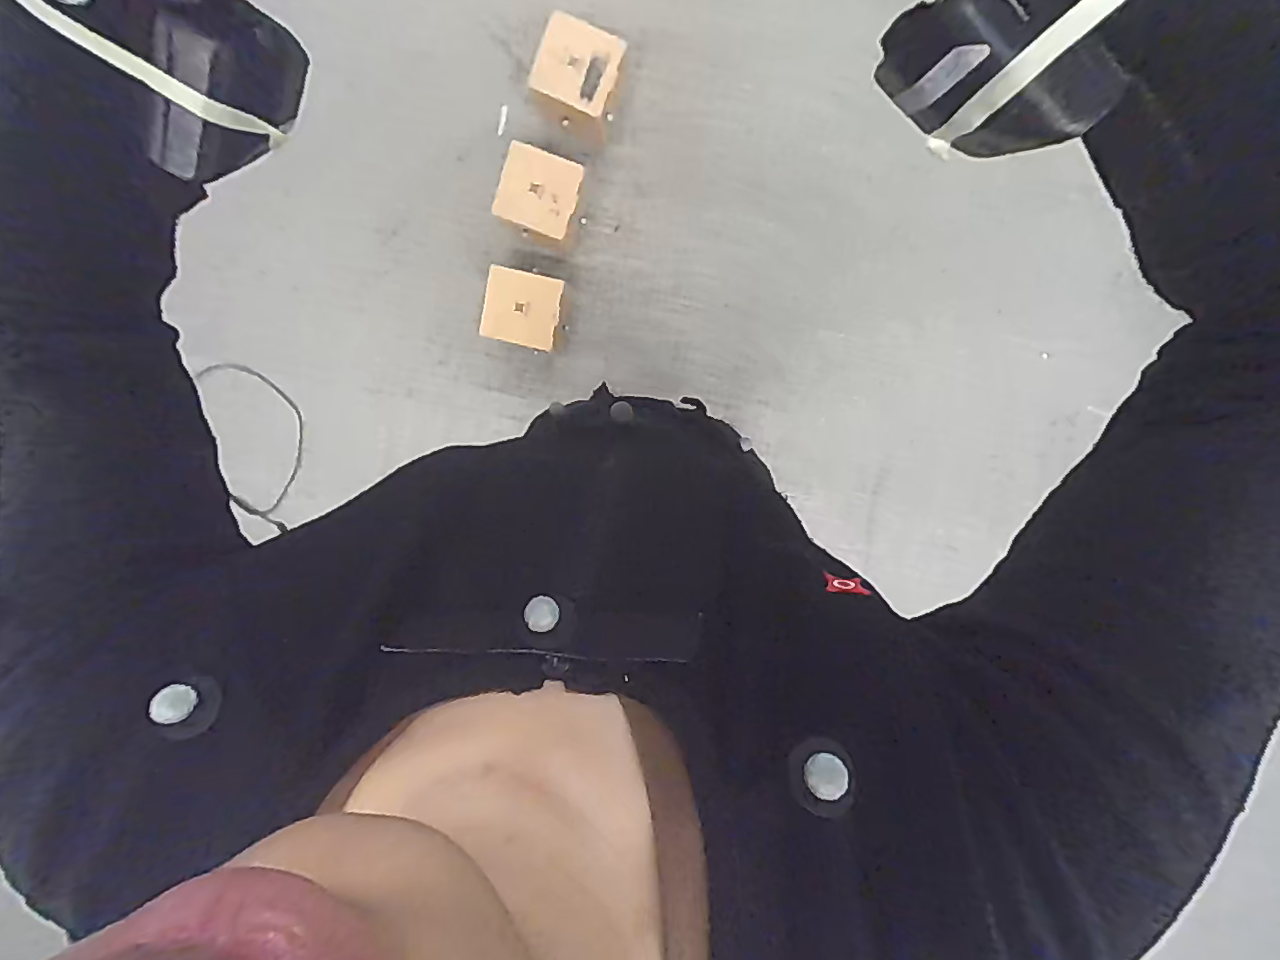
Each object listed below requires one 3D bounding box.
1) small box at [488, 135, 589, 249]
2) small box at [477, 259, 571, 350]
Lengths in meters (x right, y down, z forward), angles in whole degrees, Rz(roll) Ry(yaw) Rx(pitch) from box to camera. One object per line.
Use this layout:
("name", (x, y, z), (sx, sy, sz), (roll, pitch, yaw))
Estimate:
("small box", (-0.233, -0.670, 1.281), (0.179, 0.176, 0.168), (20, 100, -3))
("small box", (-0.278, -0.421, 1.325), (0.179, 0.176, 0.168), (12, 100, -2))
